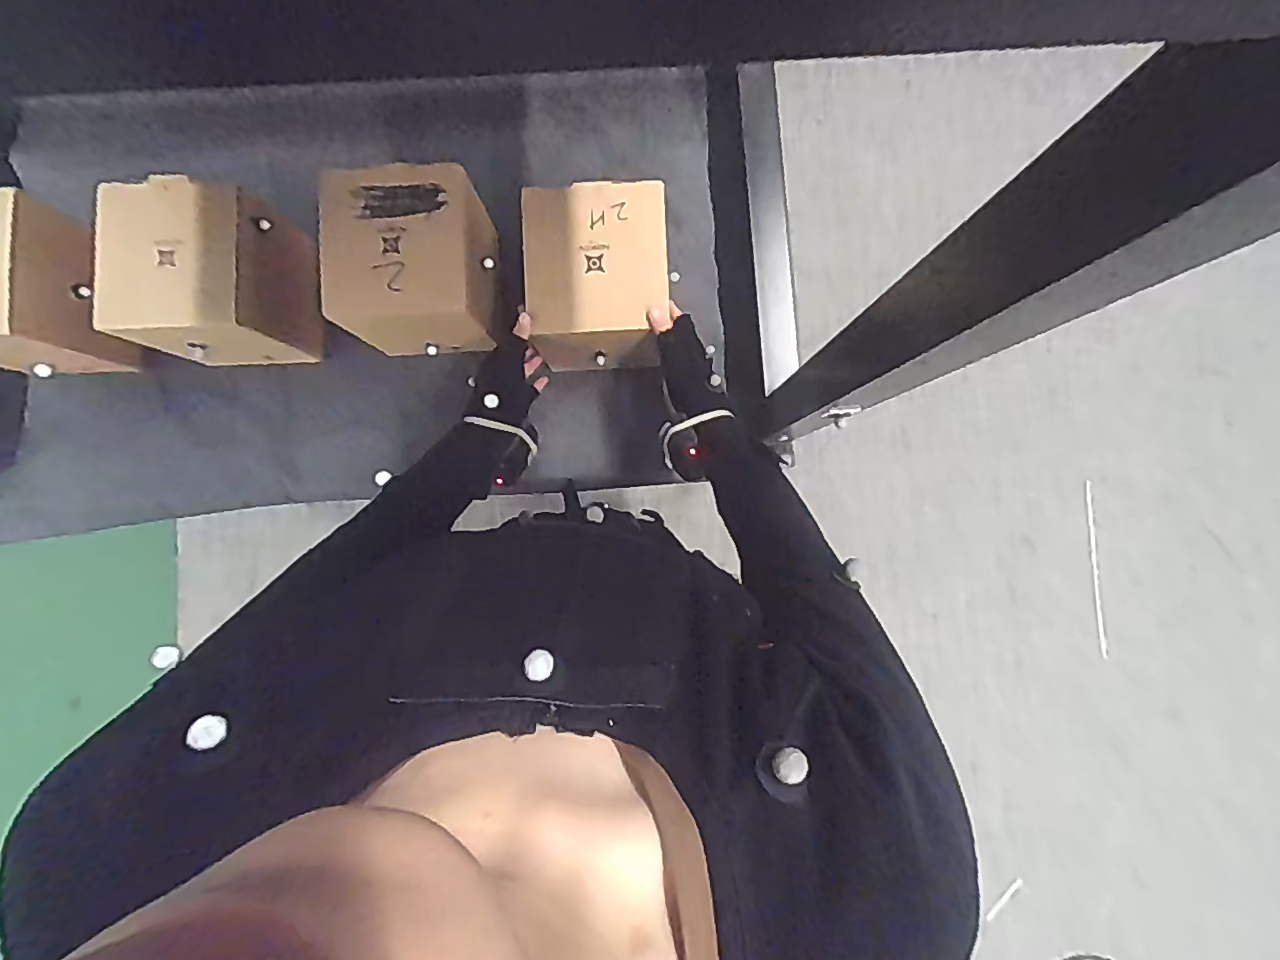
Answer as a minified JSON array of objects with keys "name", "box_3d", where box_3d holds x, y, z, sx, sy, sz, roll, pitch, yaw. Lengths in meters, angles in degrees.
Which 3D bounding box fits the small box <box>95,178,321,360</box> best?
[{"name":"small box","box_3d":[-0.542,-0.258,0.702,0.168,0.176,0.179,-2,87,0]}]

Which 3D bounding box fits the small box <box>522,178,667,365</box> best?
[{"name":"small box","box_3d":[-0.050,-0.253,0.698,0.168,0.176,0.179,-3,86,1]}]

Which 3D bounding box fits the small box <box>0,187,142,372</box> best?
[{"name":"small box","box_3d":[-0.795,-0.247,0.698,0.168,0.176,0.179,-2,88,0]}]
